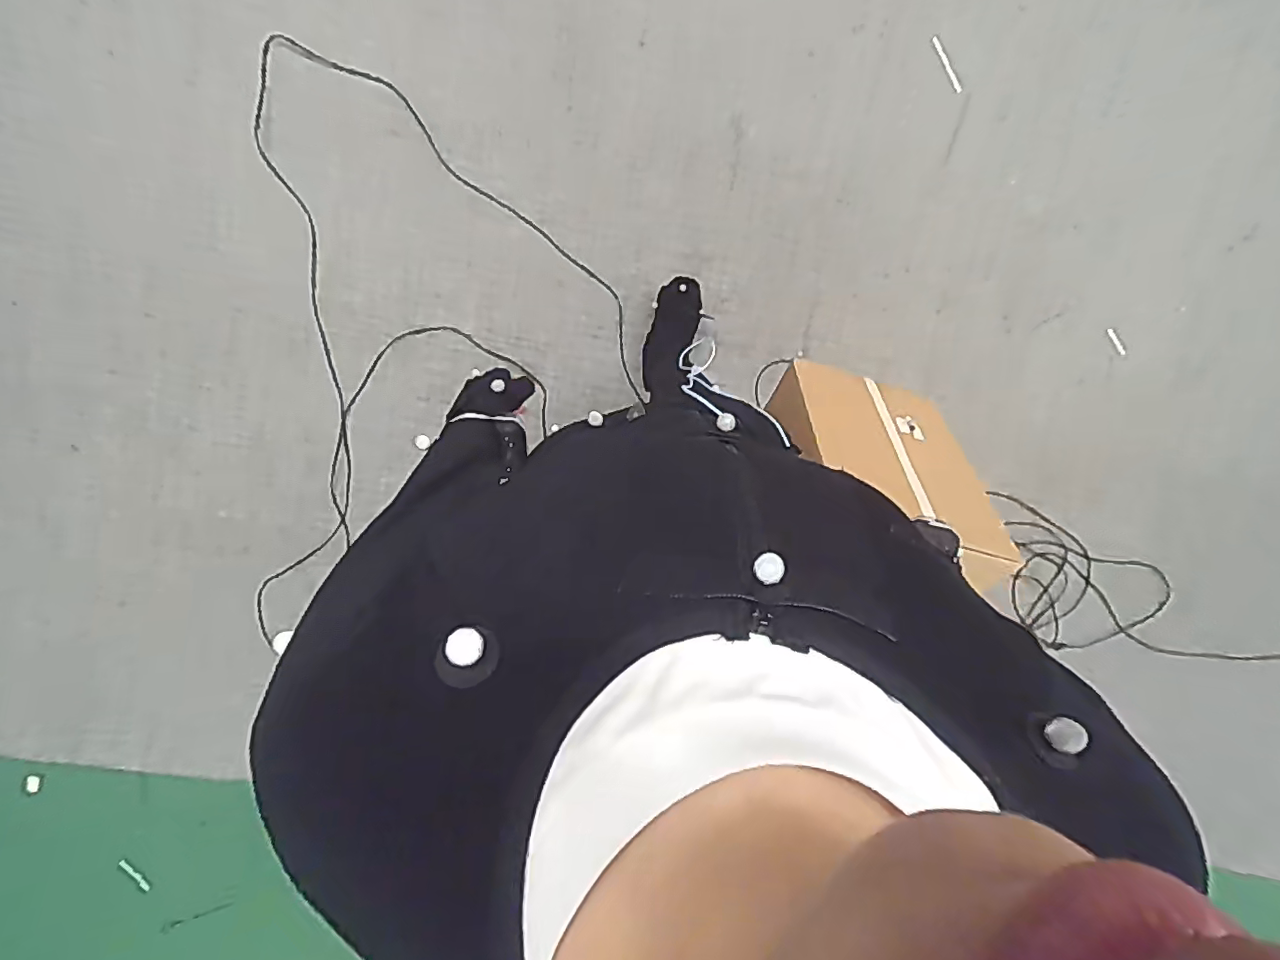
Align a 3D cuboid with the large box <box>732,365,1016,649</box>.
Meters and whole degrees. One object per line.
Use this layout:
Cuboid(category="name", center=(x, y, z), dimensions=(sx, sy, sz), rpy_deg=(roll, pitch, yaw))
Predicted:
Cuboid(category="large box", center=(0.385, 0.050, 1.023), dimensions=(0.320, 0.408, 0.320), rpy_deg=(14, 133, -10))
